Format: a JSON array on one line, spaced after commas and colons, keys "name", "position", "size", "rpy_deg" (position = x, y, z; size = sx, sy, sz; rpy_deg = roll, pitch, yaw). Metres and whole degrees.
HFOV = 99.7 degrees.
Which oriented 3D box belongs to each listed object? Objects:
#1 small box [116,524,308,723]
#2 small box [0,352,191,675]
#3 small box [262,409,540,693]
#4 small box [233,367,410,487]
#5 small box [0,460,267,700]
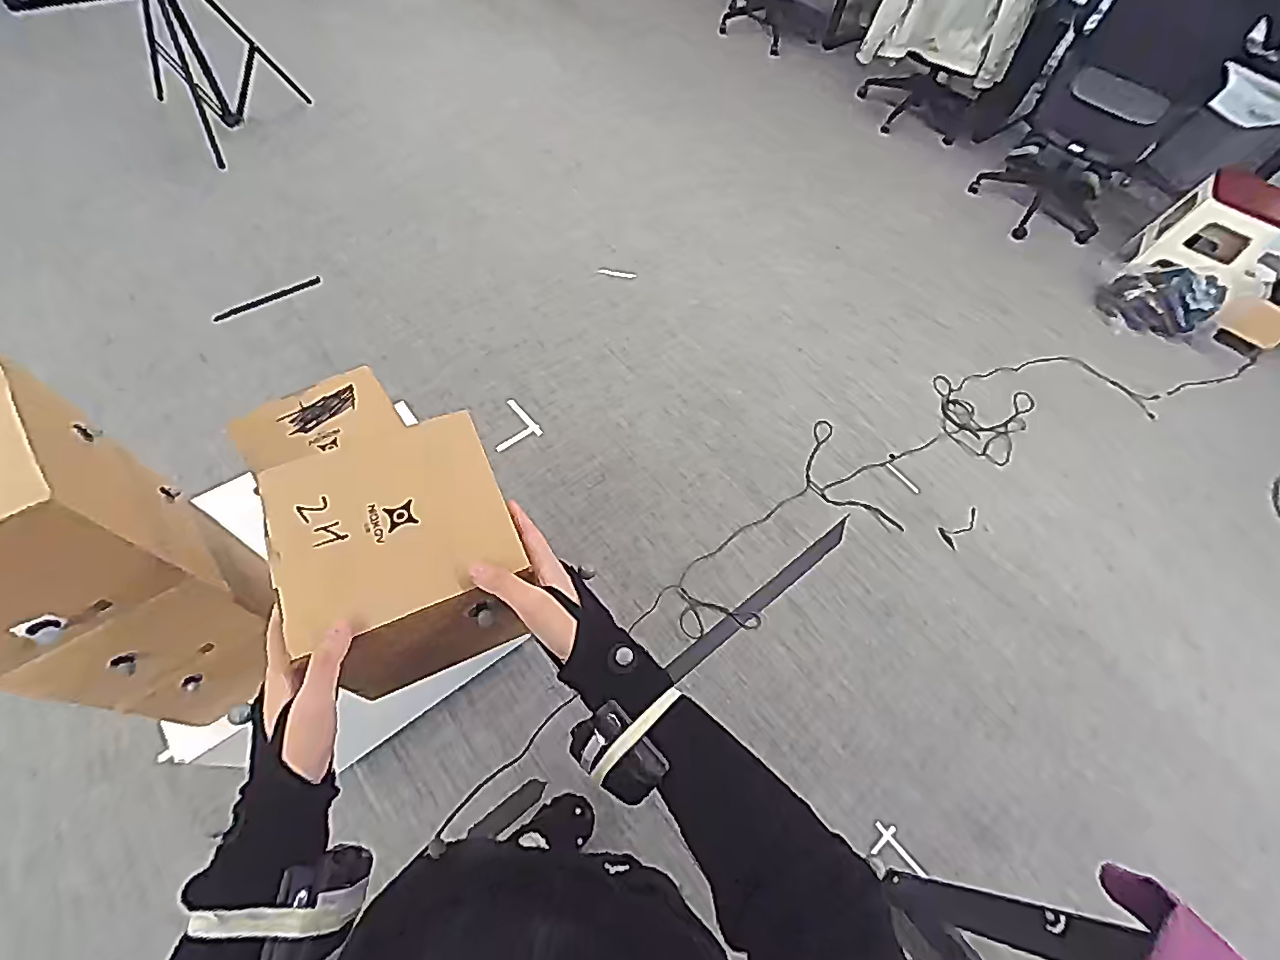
[{"name": "small box", "position": [-0.575, 0.198, 0.730], "size": [0.168, 0.176, 0.179], "rpy_deg": [-32, 68, -23]}, {"name": "small box", "position": [-0.536, 0.034, 0.451], "size": [0.168, 0.176, 0.179], "rpy_deg": [-35, 70, -23]}, {"name": "small box", "position": [-0.197, 0.069, 0.489], "size": [0.179, 0.176, 0.168], "rpy_deg": [-21, 63, -16]}, {"name": "small box", "position": [-0.357, -0.002, 0.682], "size": [0.168, 0.176, 0.179], "rpy_deg": [-31, 69, -22]}, {"name": "small box", "position": [-0.554, 0.117, 0.589], "size": [0.168, 0.176, 0.179], "rpy_deg": [-34, 69, -23]}]
